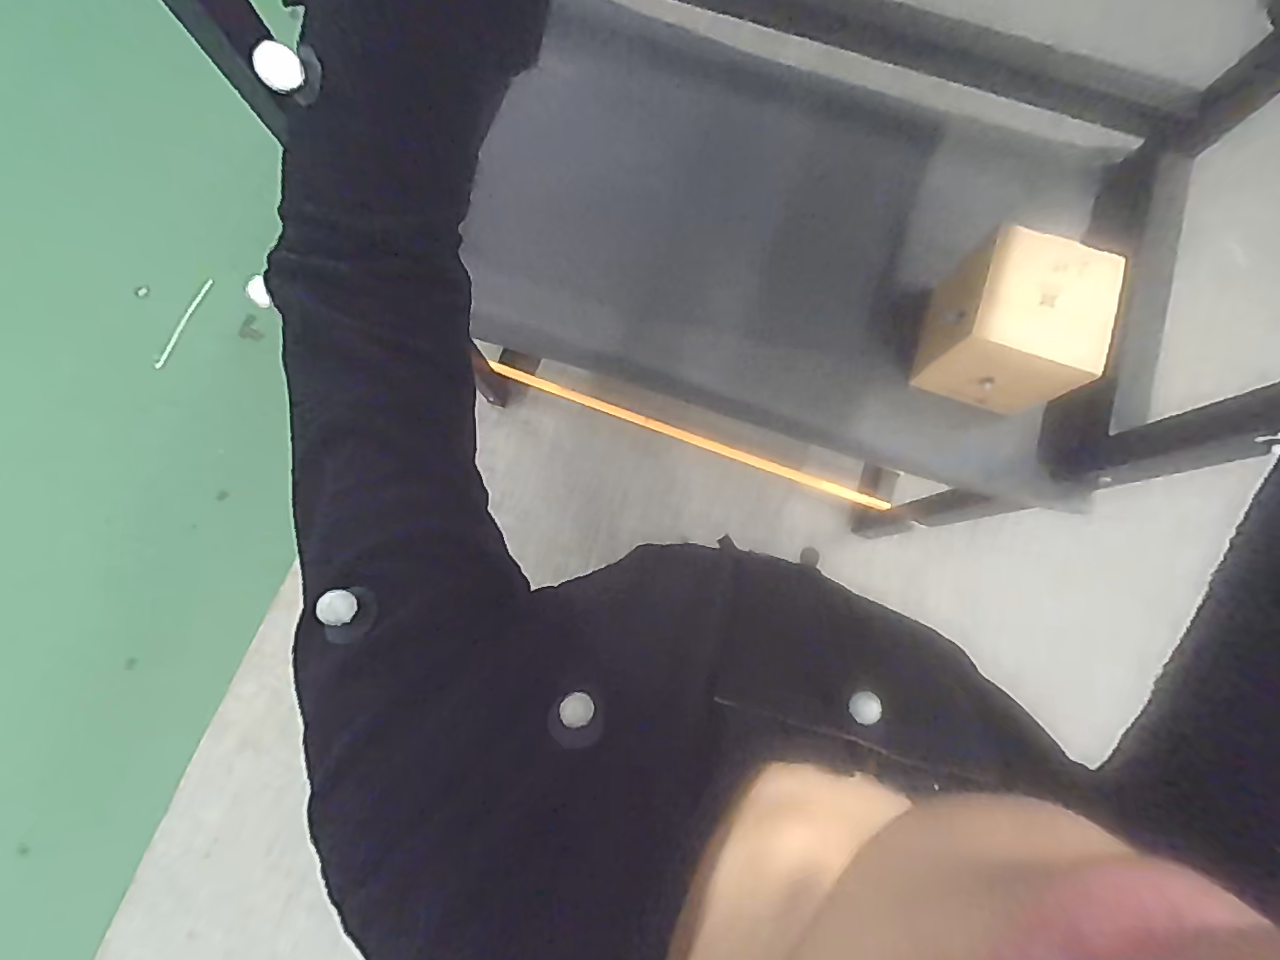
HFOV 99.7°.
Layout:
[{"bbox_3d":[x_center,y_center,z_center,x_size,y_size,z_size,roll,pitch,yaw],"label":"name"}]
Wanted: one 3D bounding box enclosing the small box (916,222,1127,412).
[{"bbox_3d":[0.521,-0.217,0.764,0.168,0.176,0.179,20,78,4],"label":"small box"}]
